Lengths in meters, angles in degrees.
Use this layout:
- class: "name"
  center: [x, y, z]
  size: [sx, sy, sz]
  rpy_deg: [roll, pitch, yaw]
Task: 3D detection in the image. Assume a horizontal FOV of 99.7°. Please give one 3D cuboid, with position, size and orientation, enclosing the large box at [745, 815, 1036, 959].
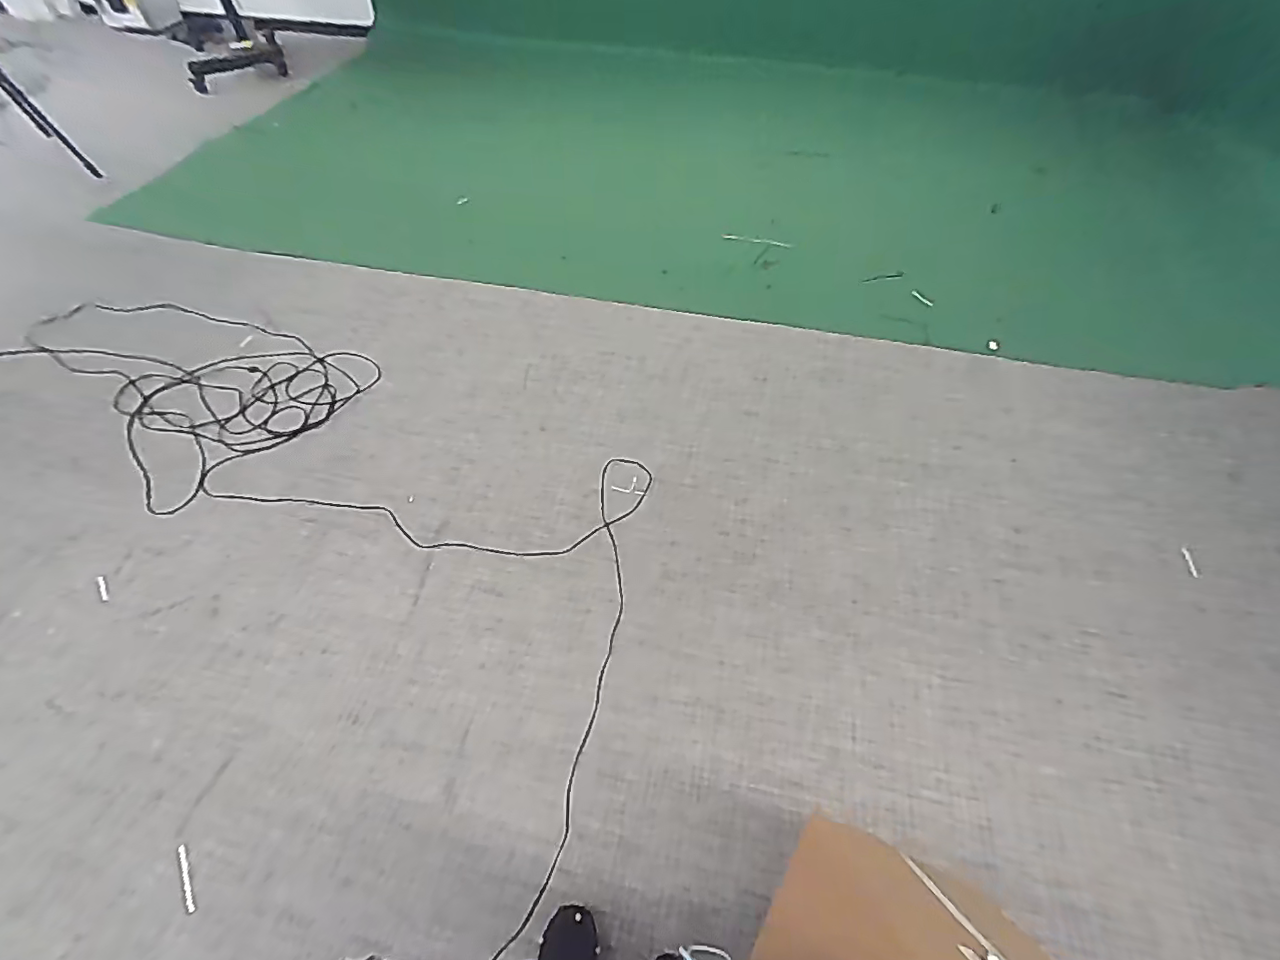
- class: "large box"
  center: [0.340, 0.704, 0.632]
  size: [0.320, 0.408, 0.320]
  rpy_deg: [26, 83, -1]
